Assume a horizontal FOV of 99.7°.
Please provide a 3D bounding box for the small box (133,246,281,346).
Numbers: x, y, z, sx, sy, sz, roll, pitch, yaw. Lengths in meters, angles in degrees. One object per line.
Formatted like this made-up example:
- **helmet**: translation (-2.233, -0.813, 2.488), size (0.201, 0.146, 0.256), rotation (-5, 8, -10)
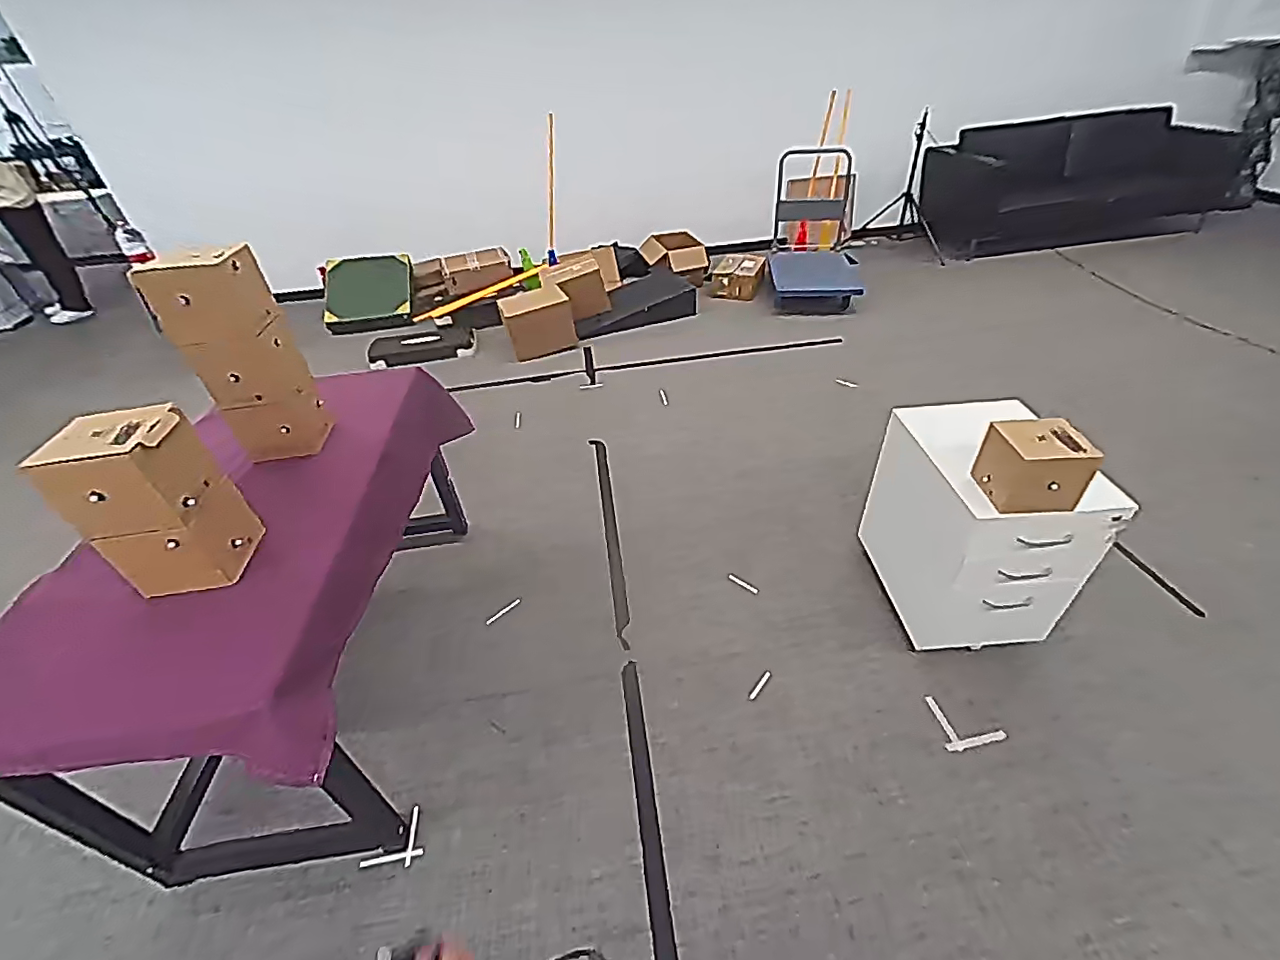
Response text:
- **small box**: translation (-0.982, -0.422, 1.245), size (0.179, 0.176, 0.168), rotation (-8, 39, -4)

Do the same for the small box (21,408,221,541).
- **small box**: translation (-0.931, -0.010, 0.997), size (0.179, 0.176, 0.168), rotation (-9, 39, -6)

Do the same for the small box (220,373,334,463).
- **small box**: translation (-0.957, -0.165, 1.449), size (0.179, 0.176, 0.168), rotation (-8, 39, -4)

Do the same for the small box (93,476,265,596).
- **small box**: translation (-0.919, 0.116, 1.101), size (0.179, 0.176, 0.168), rotation (-8, 39, -5)

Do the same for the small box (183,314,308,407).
- **small box**: translation (-0.965, -0.292, 1.345), size (0.168, 0.176, 0.179), rotation (-8, 39, -5)
